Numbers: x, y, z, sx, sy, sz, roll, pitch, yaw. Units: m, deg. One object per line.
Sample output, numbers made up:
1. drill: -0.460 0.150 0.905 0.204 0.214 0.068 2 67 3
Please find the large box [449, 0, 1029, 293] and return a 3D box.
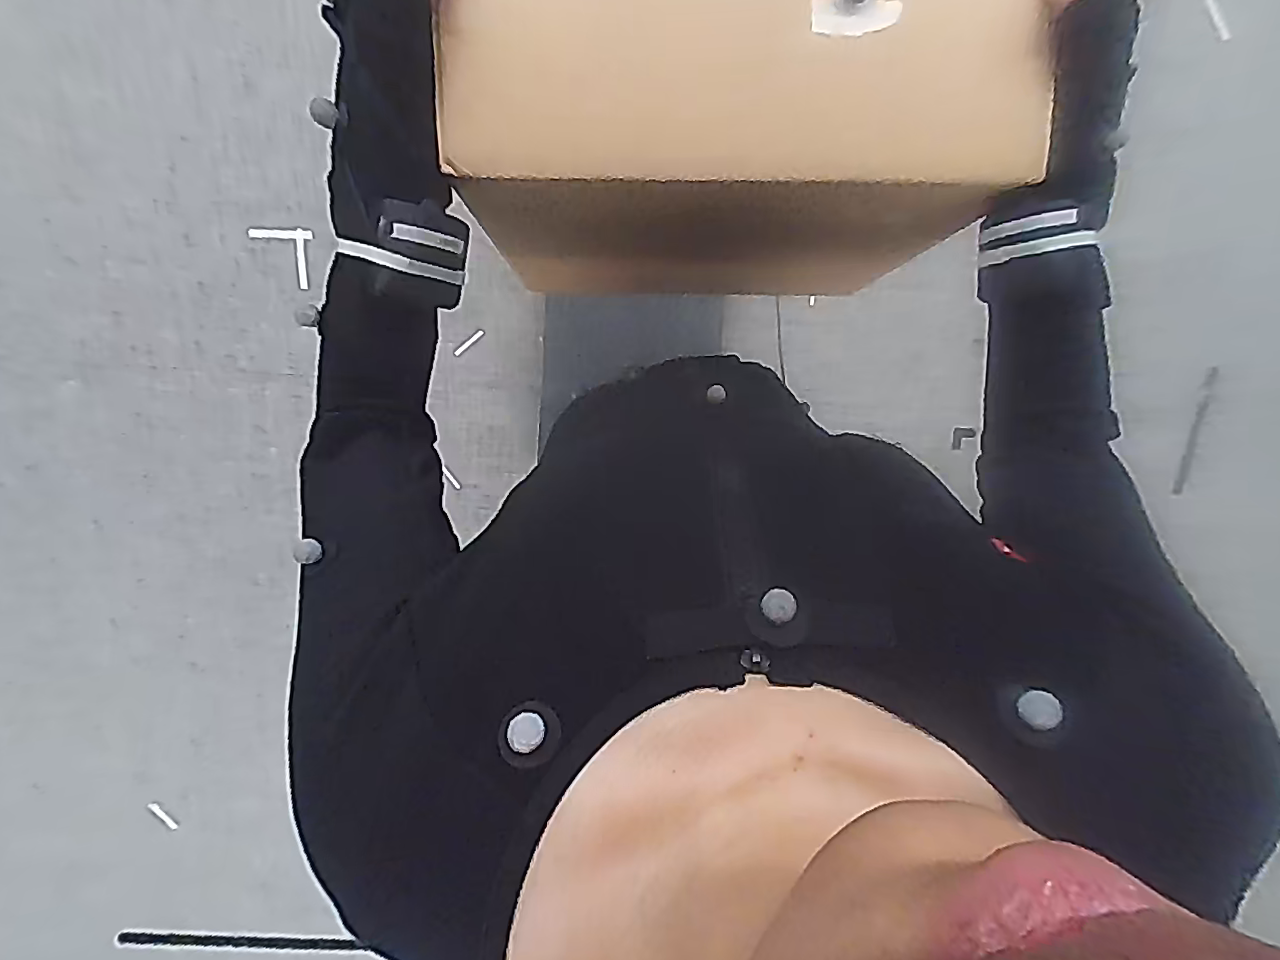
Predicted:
1. large box: 0.062 -0.374 0.511 0.408 0.320 0.320 0 96 -2
